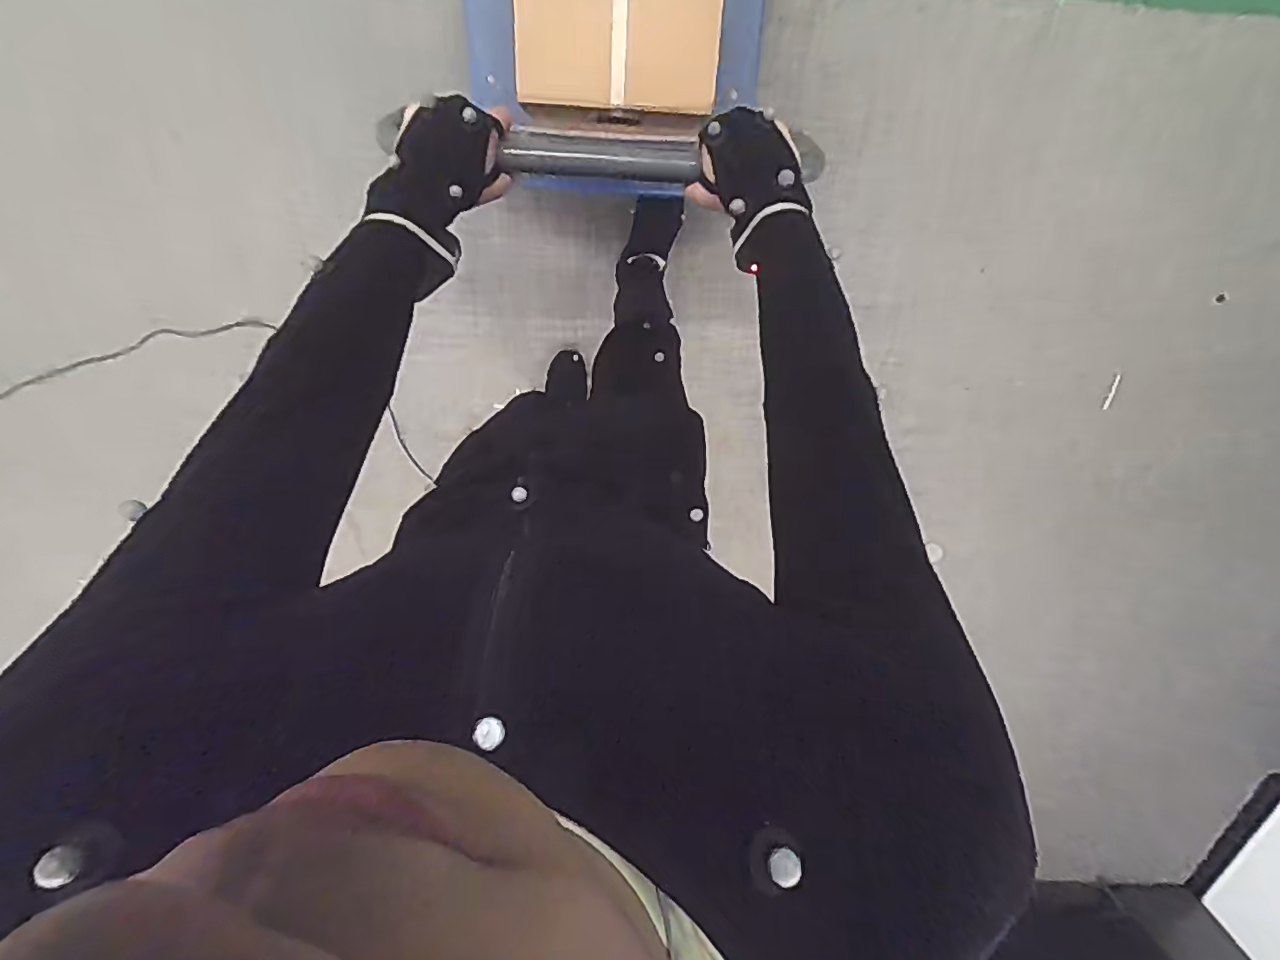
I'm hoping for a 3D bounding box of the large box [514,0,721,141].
[{"bbox_3d":[-0.033,-0.836,0.920,0.320,0.320,0.408,2,115,-3],"label":"large box"}]
